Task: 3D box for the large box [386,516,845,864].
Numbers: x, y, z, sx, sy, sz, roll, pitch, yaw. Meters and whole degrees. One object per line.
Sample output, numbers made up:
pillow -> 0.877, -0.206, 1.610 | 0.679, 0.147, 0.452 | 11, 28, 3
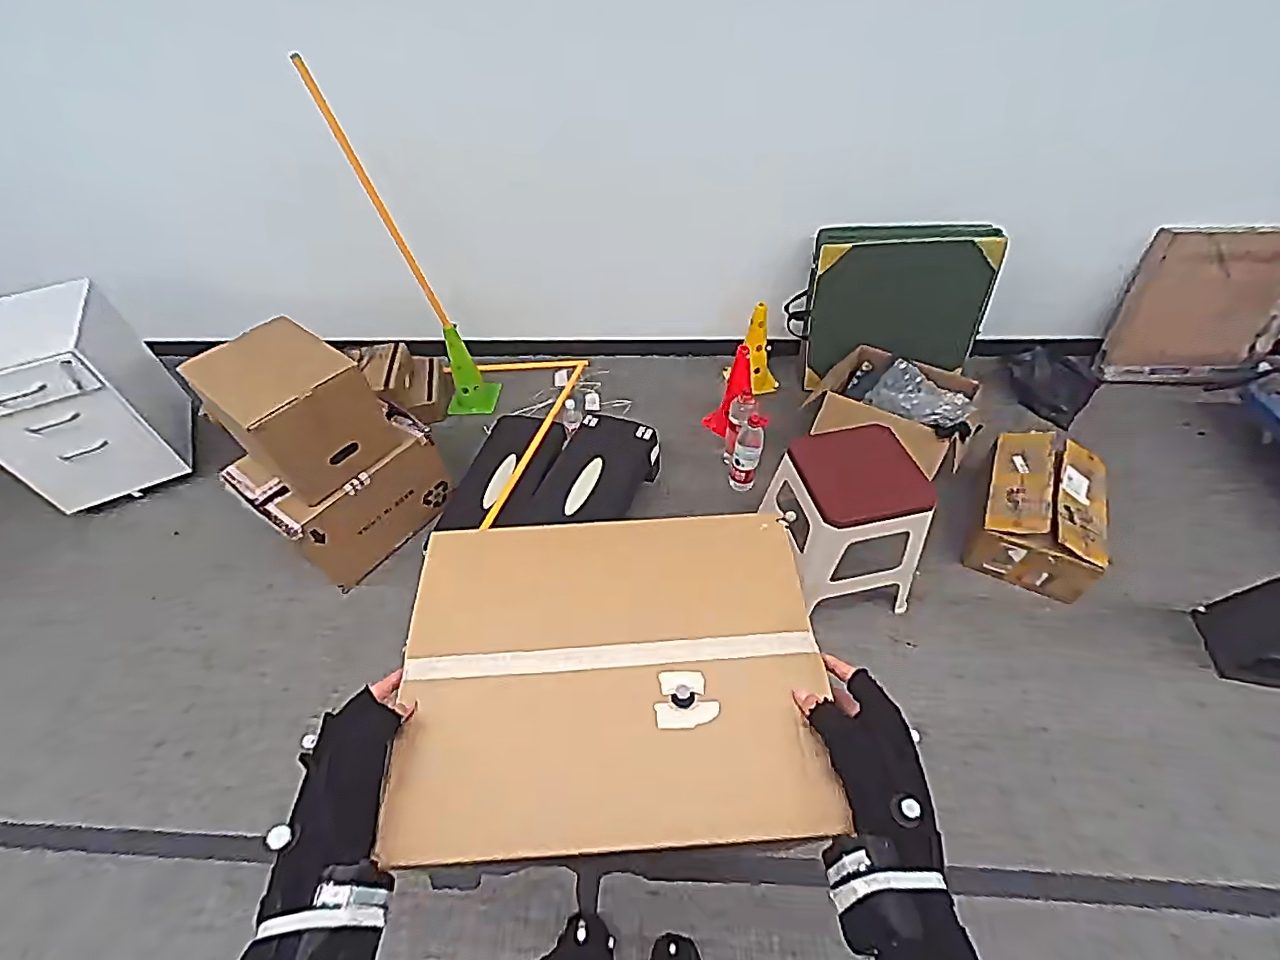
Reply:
large box -> -0.027, 0.265, 0.666 | 0.408, 0.320, 0.320 | -3, 54, -1
